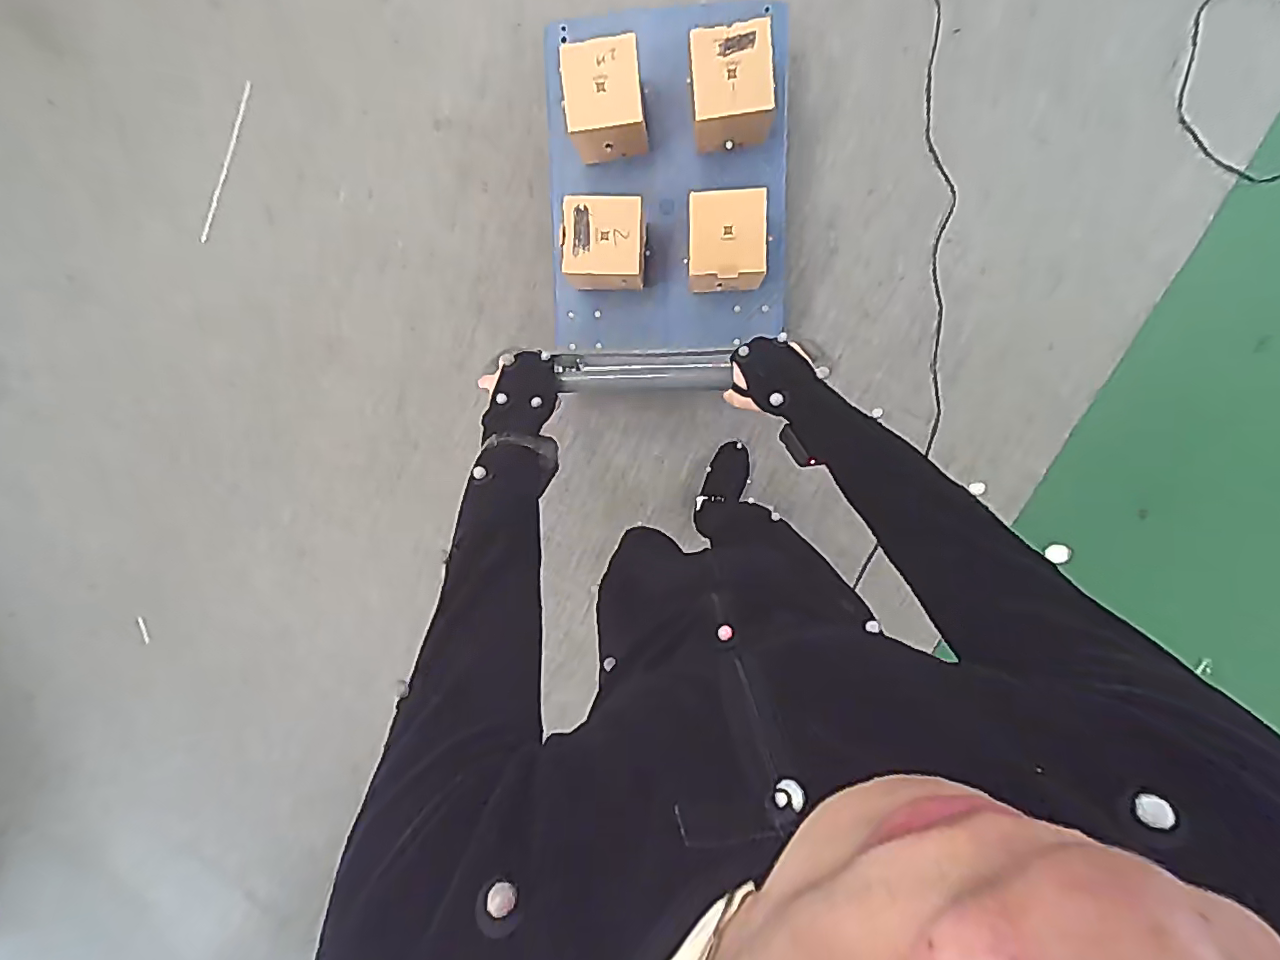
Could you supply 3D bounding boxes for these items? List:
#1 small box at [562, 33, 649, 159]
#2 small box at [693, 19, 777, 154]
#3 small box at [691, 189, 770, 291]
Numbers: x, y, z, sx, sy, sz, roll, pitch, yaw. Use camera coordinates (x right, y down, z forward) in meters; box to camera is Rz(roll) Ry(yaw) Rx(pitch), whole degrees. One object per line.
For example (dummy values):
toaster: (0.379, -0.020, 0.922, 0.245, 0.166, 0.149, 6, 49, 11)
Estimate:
small box: (-0.070, -0.850, 1.220, 0.168, 0.176, 0.179, -4, 98, 5)
small box: (0.204, -0.858, 1.193, 0.168, 0.176, 0.179, -4, 99, 7)
small box: (0.200, -0.543, 1.241, 0.168, 0.176, 0.179, 0, 99, 5)
